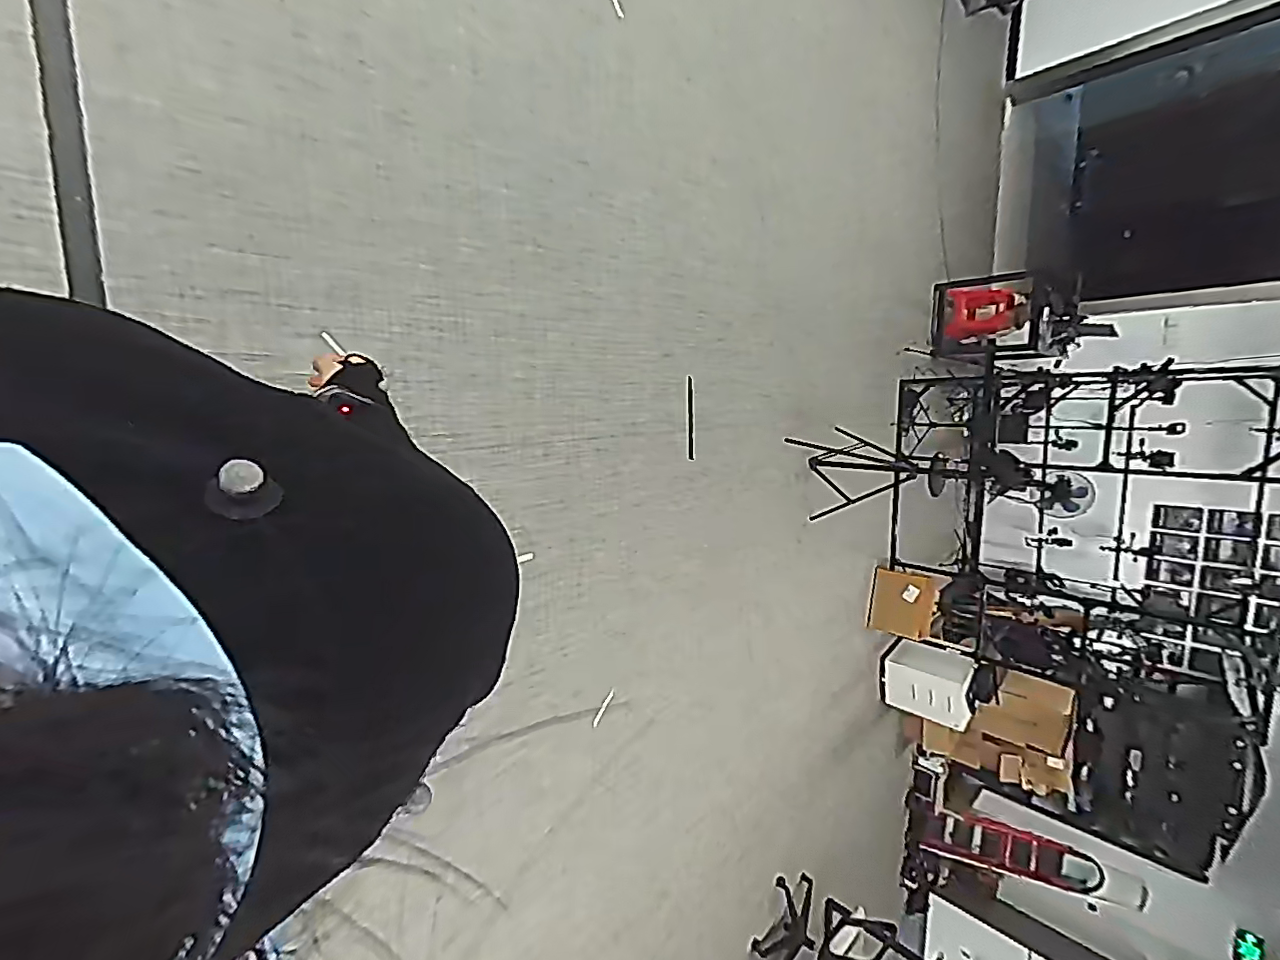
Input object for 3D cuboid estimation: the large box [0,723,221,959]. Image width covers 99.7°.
[{"bbox_3d":[-0.952,0.664,0.858,0.408,0.320,0.320,-8,100,-43],"label":"large box"}]
